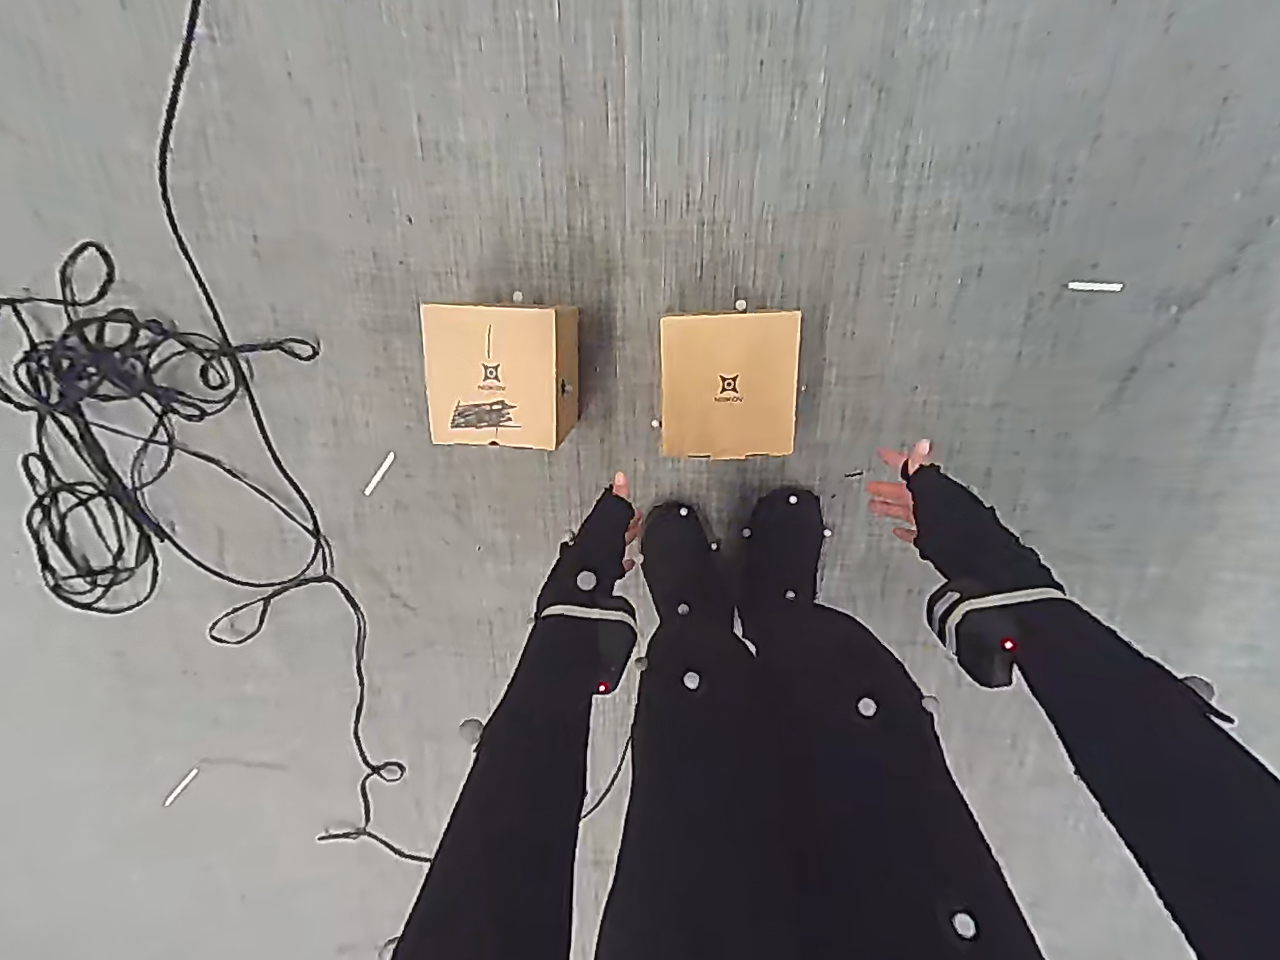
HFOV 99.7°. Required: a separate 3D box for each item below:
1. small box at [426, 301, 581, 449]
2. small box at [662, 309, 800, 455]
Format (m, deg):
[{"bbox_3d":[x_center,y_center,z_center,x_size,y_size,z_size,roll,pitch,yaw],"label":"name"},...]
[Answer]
[{"bbox_3d":[-0.177,-0.153,0.751,0.168,0.176,0.179,4,108,2],"label":"small box"},{"bbox_3d":[0.114,-0.140,0.739,0.168,0.176,0.179,-1,109,4],"label":"small box"}]
